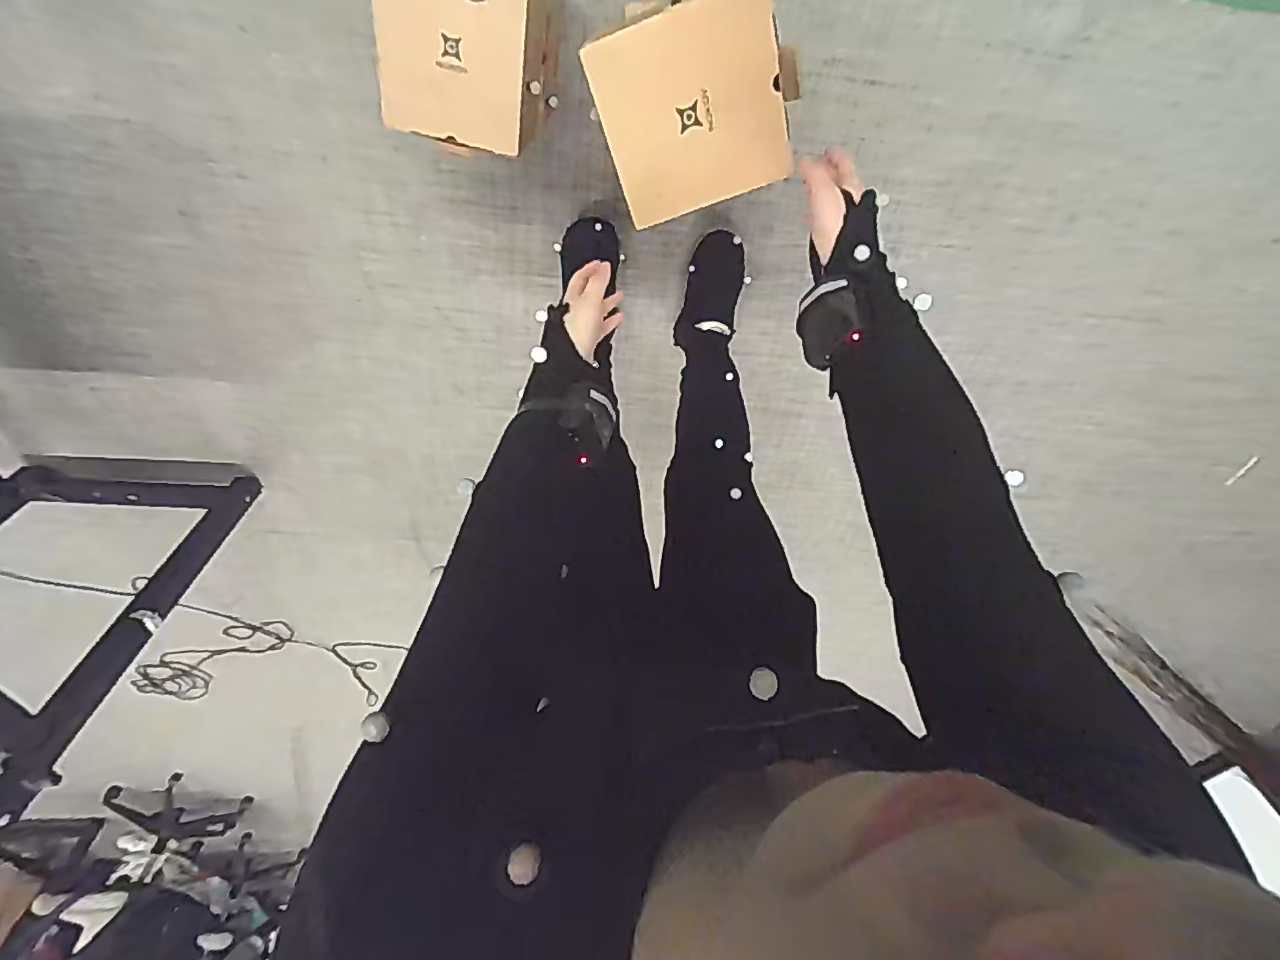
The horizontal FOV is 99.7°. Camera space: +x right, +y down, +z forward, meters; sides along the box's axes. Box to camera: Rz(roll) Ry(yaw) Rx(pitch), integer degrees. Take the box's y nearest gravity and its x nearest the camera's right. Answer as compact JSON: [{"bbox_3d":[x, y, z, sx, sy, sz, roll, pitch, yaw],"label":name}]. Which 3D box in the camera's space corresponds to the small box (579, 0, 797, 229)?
[{"bbox_3d":[0.050,-0.396,0.569,0.179,0.176,0.168,-16,130,11],"label":"small box"}]
